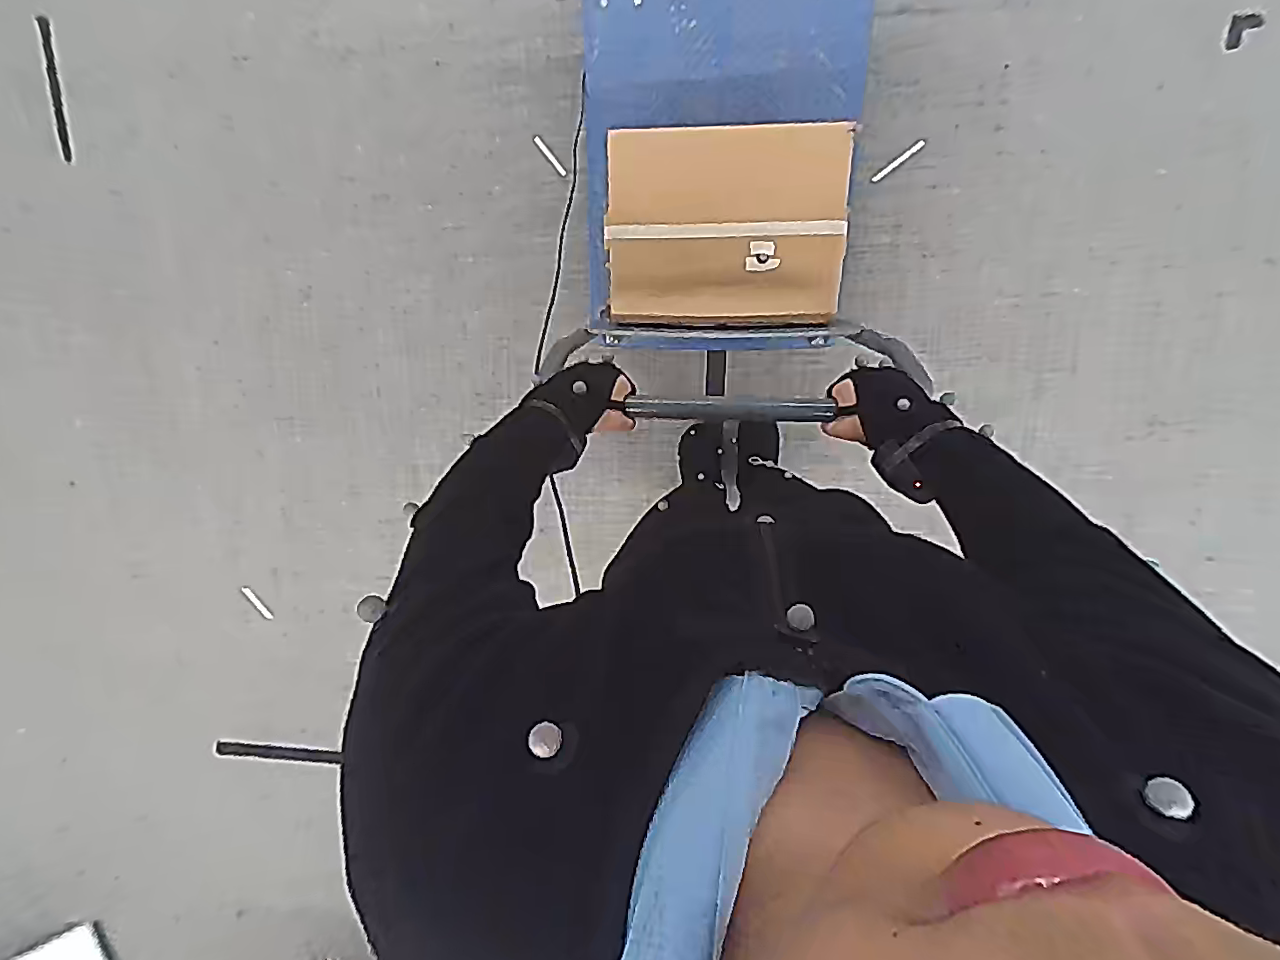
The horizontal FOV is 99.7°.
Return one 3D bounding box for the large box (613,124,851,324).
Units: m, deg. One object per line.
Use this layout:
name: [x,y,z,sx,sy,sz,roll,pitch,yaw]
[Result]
large box: [0.164,-0.483,1.089,0.408,0.320,0.320,1,108,5]
